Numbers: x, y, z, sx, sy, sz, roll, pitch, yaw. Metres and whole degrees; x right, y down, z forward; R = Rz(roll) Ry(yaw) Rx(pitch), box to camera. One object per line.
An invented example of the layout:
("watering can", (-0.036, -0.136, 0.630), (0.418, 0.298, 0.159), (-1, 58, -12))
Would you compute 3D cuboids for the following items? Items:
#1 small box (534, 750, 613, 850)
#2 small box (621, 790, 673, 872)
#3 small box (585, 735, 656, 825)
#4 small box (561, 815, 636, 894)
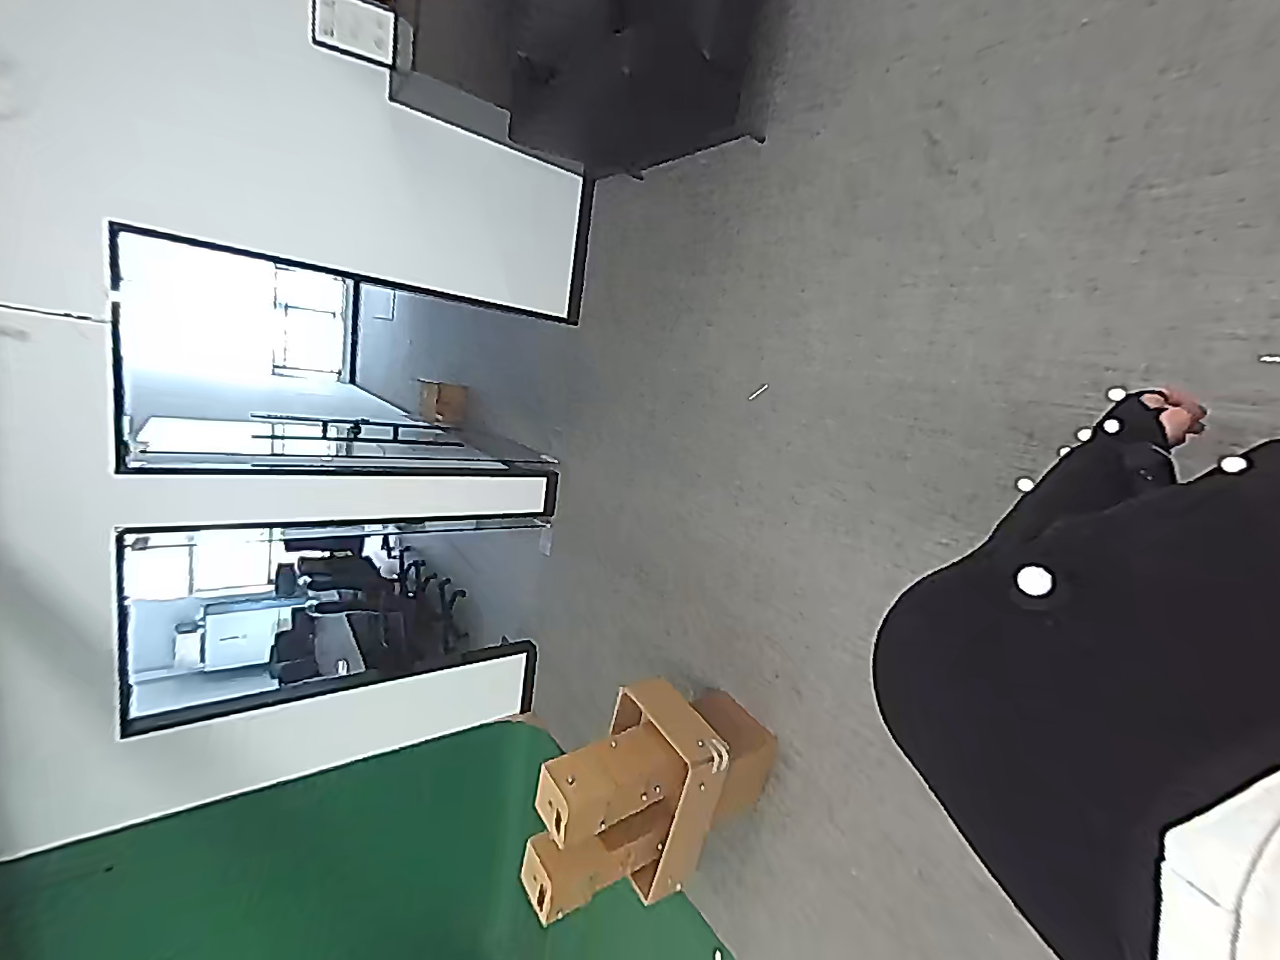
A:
("small box", (-0.202, 0.961, 1.645), (0.179, 0.176, 0.168), (29, 113, 48))
("small box", (-0.013, 1.236, 1.931), (0.179, 0.176, 0.168), (32, 115, 47))
("small box", (-0.077, 0.958, 1.750), (0.179, 0.176, 0.168), (29, 113, 47))
("small box", (-0.141, 1.236, 1.833), (0.179, 0.176, 0.168), (32, 114, 46))
